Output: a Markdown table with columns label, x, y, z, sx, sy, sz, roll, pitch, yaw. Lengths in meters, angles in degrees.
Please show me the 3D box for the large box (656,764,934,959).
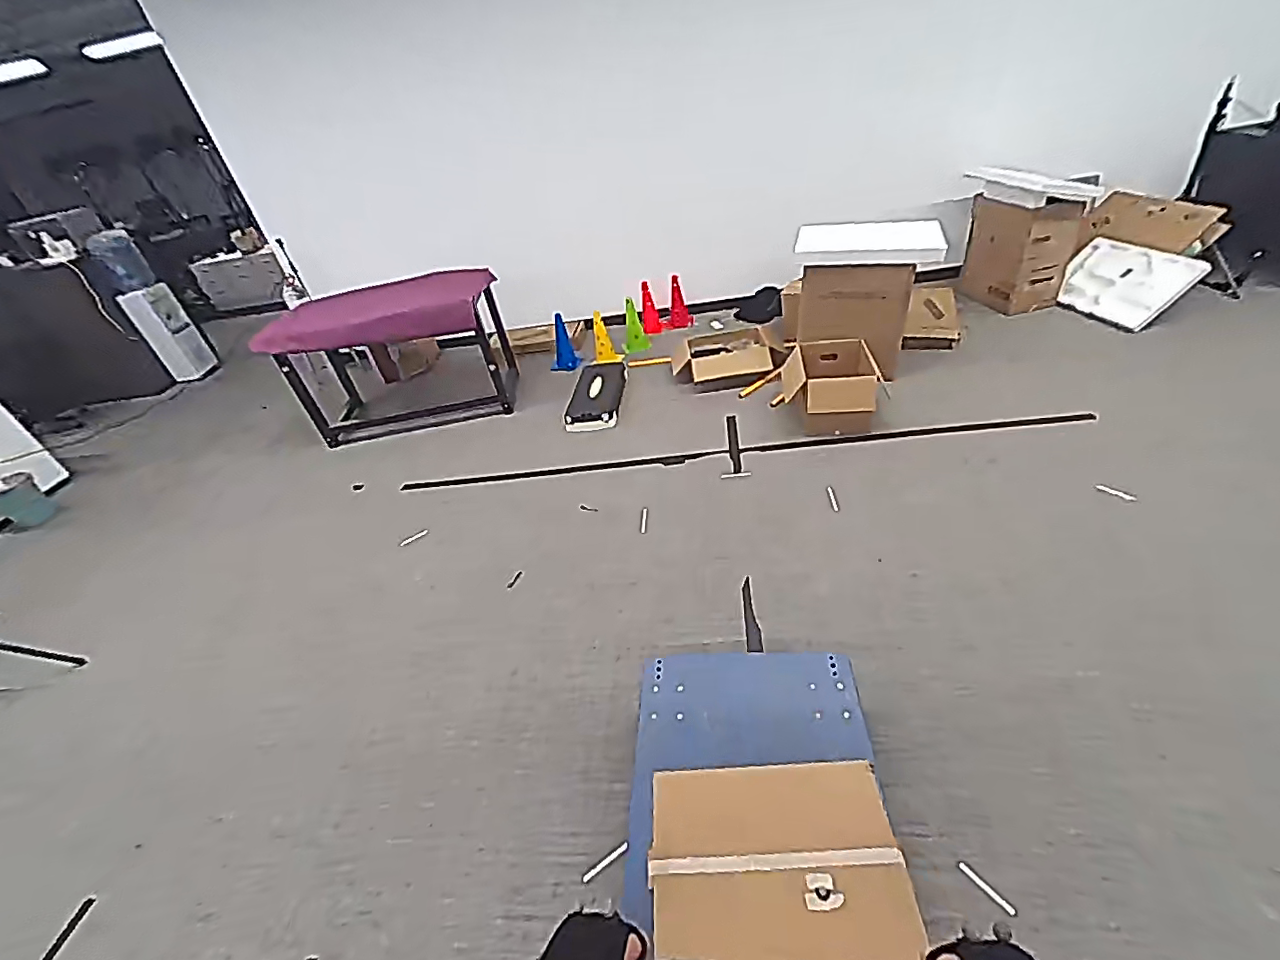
| label | x | y | z | sx | sy | sz | roll | pitch | yaw |
| --- | --- | --- | --- | --- | --- | --- | --- | --- | --- |
| large box | 0.245 | 0.757 | 0.981 | 0.408 | 0.320 | 0.320 | -6 | 37 | 5 |
